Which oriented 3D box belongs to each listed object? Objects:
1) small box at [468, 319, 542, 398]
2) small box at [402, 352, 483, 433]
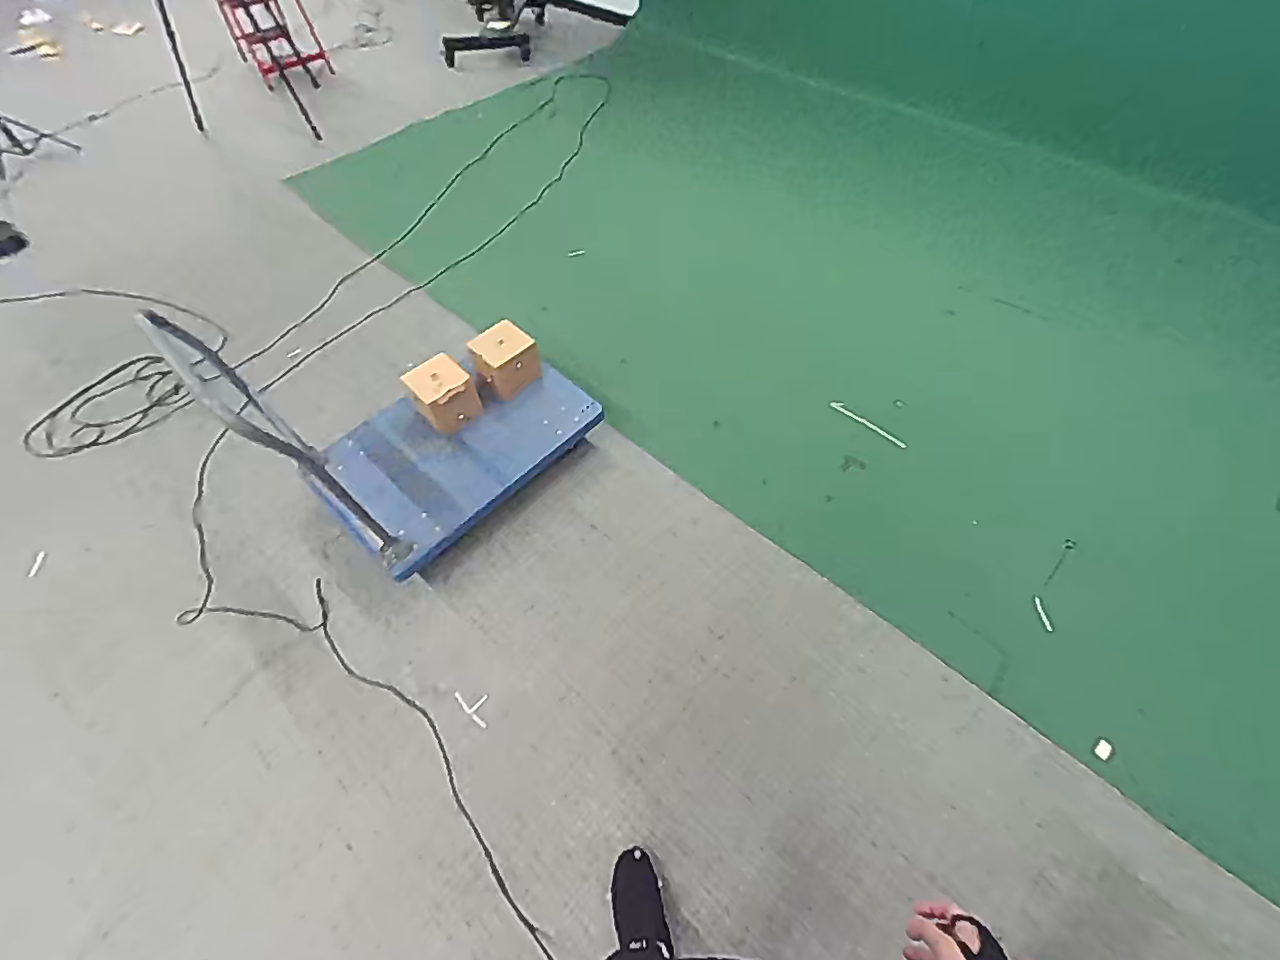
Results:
[{"bbox_3d":[-0.466,-0.420,1.893,0.168,0.176,0.179,39,65,22],"label":"small box"},{"bbox_3d":[-0.654,-0.289,1.806,0.168,0.176,0.179,-39,64,-22],"label":"small box"}]
